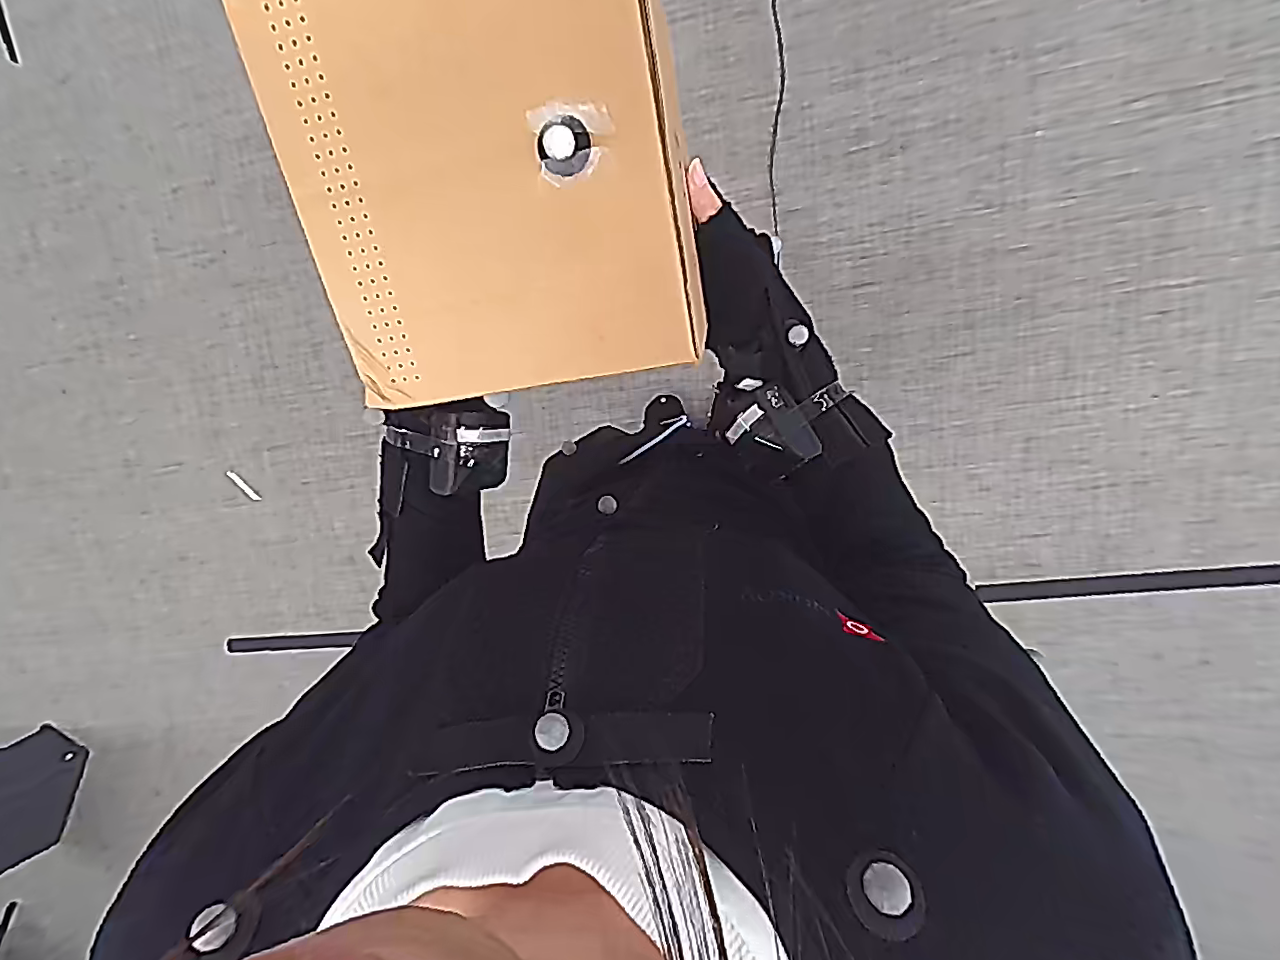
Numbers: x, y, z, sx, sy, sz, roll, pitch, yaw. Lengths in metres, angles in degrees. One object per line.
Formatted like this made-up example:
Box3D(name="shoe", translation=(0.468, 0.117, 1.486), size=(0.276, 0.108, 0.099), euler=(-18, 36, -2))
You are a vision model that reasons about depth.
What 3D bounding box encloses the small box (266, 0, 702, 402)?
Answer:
Box3D(name="small box", translation=(-0.061, -0.156, 0.309), size=(0.176, 0.168, 0.179), euler=(-7, 110, 11))
